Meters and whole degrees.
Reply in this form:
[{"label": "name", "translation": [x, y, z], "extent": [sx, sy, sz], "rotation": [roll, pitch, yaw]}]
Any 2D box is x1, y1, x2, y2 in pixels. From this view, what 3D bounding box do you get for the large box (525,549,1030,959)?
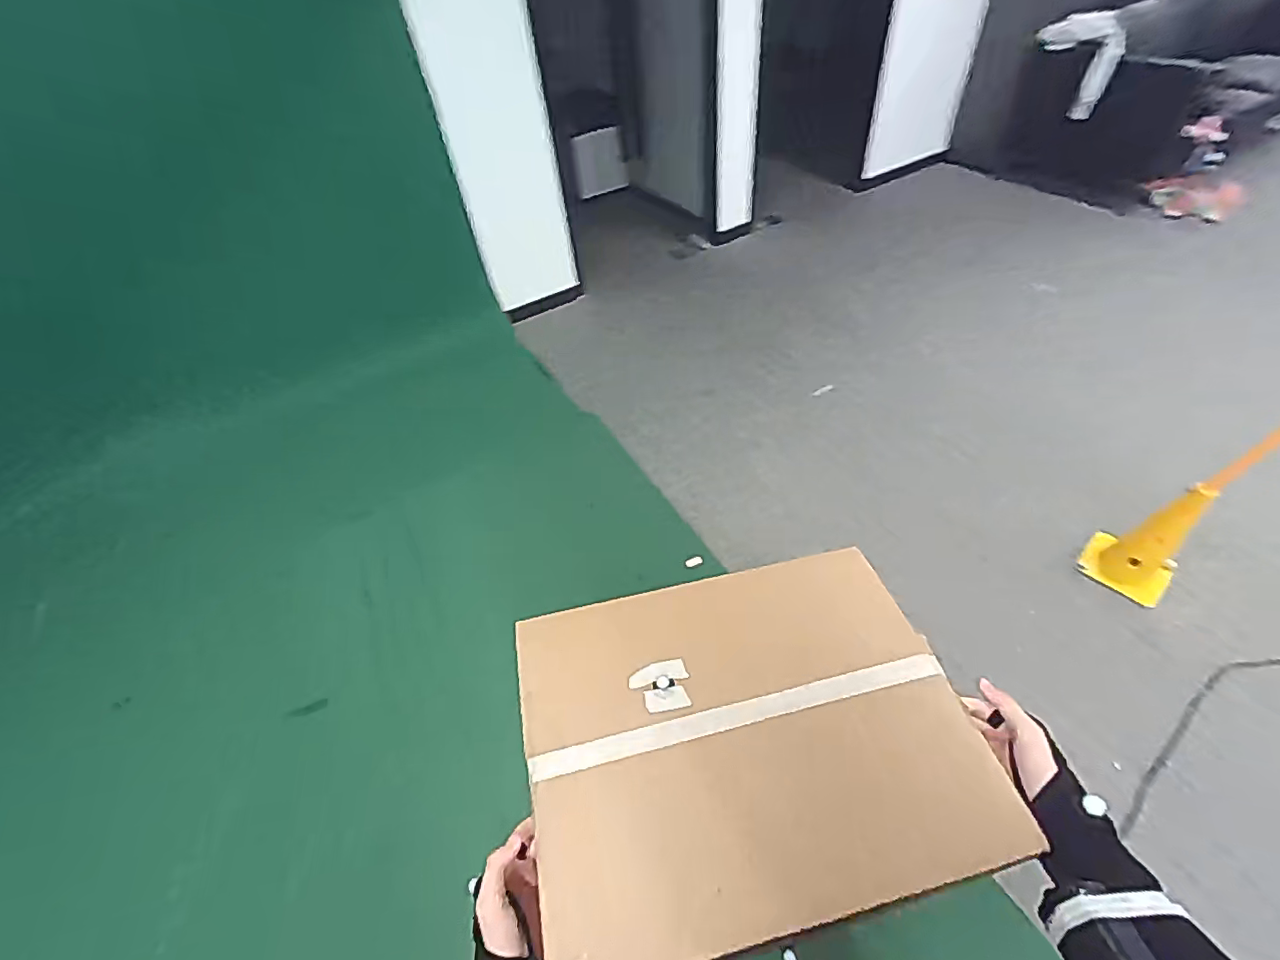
[{"label": "large box", "translation": [0.109, 0.329, 0.630], "extent": [0.408, 0.320, 0.320], "rotation": [-12, 47, -6]}]
